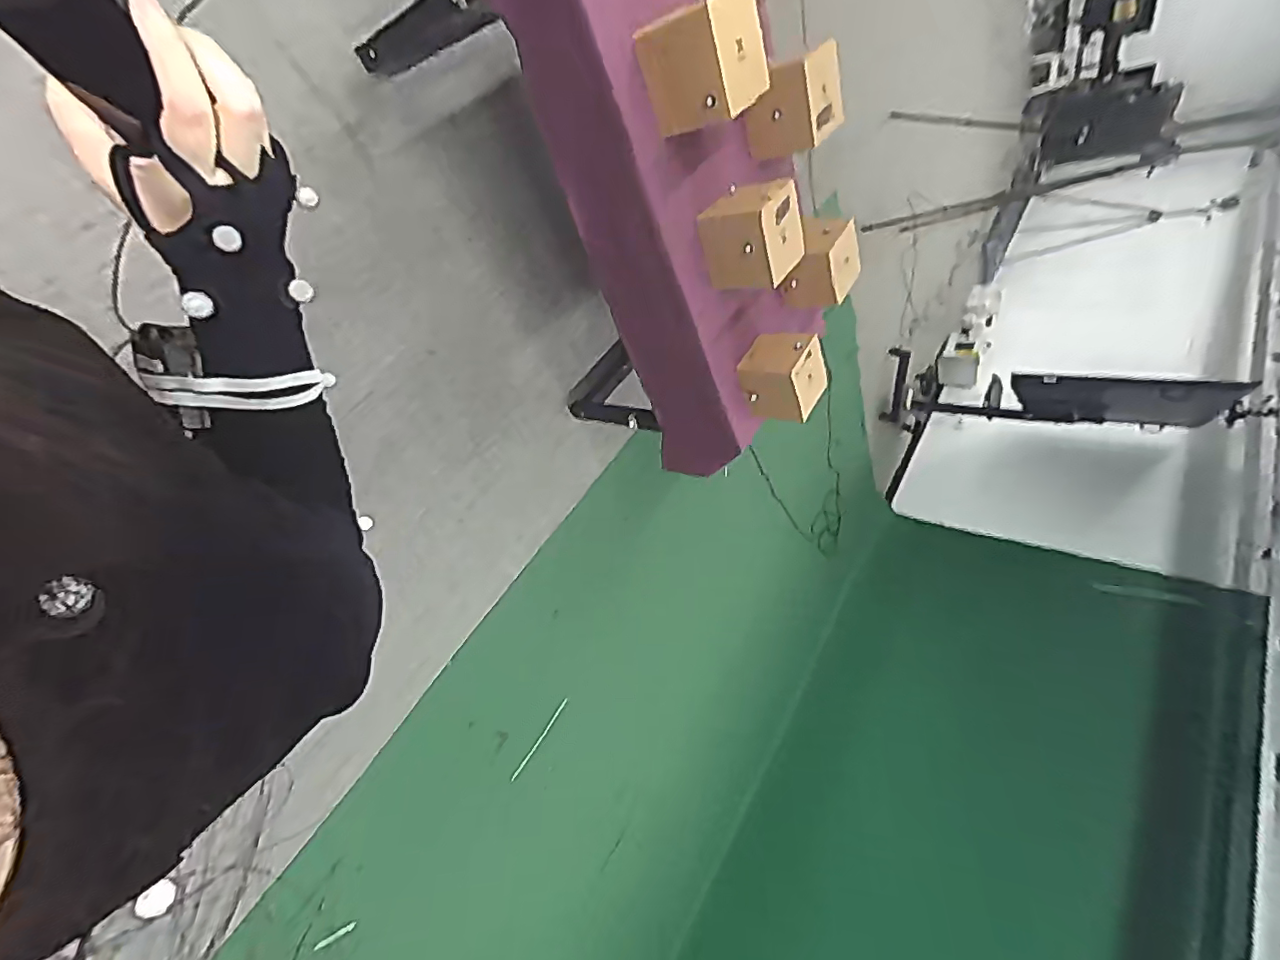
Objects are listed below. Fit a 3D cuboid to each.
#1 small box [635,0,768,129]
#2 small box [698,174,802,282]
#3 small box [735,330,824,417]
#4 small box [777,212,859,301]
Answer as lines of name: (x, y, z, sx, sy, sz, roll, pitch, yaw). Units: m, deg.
small box: (0.117, -0.801, 1.021, 0.168, 0.176, 0.179, -52, 137, -27)
small box: (0.255, -0.576, 1.255, 0.168, 0.176, 0.179, -50, 136, -28)
small box: (0.388, -0.301, 1.498, 0.168, 0.176, 0.179, -54, 136, -25)
small box: (0.495, -0.628, 1.526, 0.179, 0.176, 0.168, -54, 136, -23)
